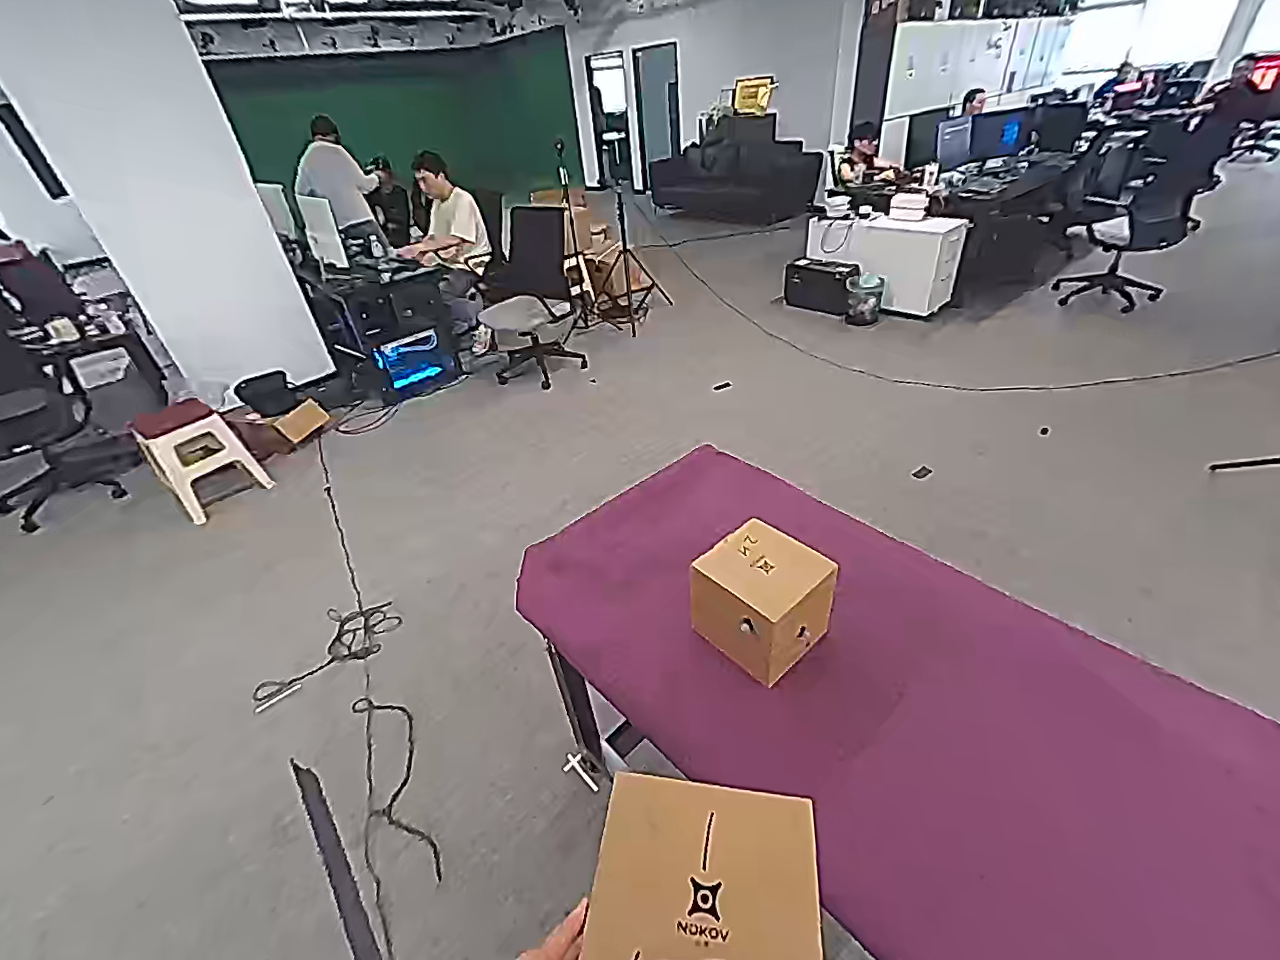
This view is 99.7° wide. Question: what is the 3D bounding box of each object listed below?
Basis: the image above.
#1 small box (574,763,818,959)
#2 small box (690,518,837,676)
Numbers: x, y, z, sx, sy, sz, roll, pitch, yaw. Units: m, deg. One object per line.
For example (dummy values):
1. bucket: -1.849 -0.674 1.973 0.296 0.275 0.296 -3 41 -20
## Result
1. small box: 0.050 0.364 0.436 0.168 0.176 0.179 3 39 10
2. small box: 0.205 0.201 0.918 0.168 0.176 0.179 -30 42 -30
